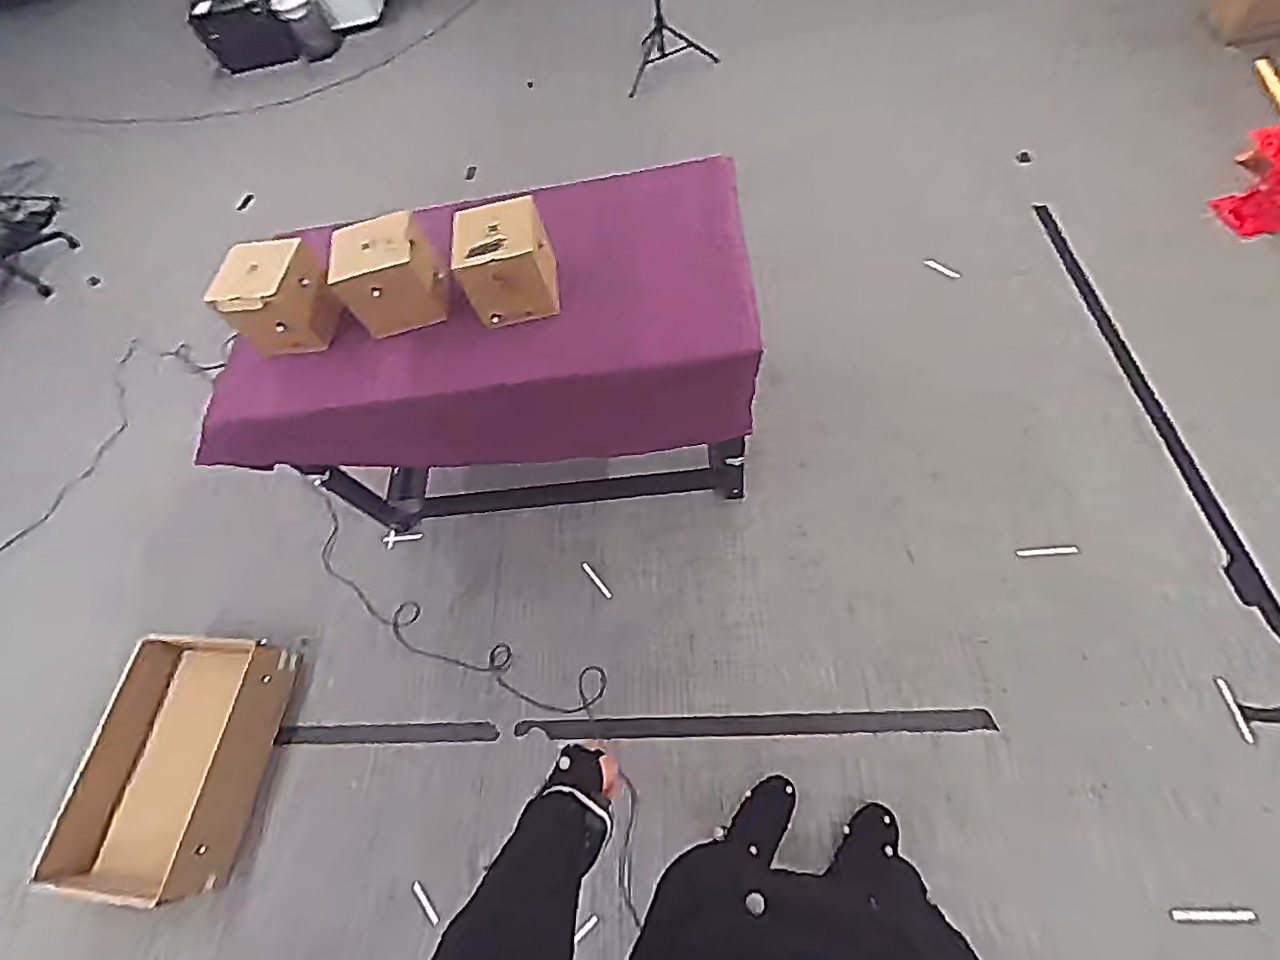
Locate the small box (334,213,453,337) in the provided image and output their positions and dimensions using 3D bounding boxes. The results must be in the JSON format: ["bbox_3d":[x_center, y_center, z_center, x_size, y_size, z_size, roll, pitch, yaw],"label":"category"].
[{"bbox_3d":[-0.533,-0.441,1.186,0.179,0.176,0.168,-14,62,3],"label":"small box"}]

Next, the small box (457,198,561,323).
[{"bbox_3d":[-0.271,-0.453,1.145,0.168,0.176,0.179,-10,61,5],"label":"small box"}]

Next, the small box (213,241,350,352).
[{"bbox_3d":[-0.789,-0.401,1.213,0.168,0.176,0.179,-1,63,9],"label":"small box"}]
